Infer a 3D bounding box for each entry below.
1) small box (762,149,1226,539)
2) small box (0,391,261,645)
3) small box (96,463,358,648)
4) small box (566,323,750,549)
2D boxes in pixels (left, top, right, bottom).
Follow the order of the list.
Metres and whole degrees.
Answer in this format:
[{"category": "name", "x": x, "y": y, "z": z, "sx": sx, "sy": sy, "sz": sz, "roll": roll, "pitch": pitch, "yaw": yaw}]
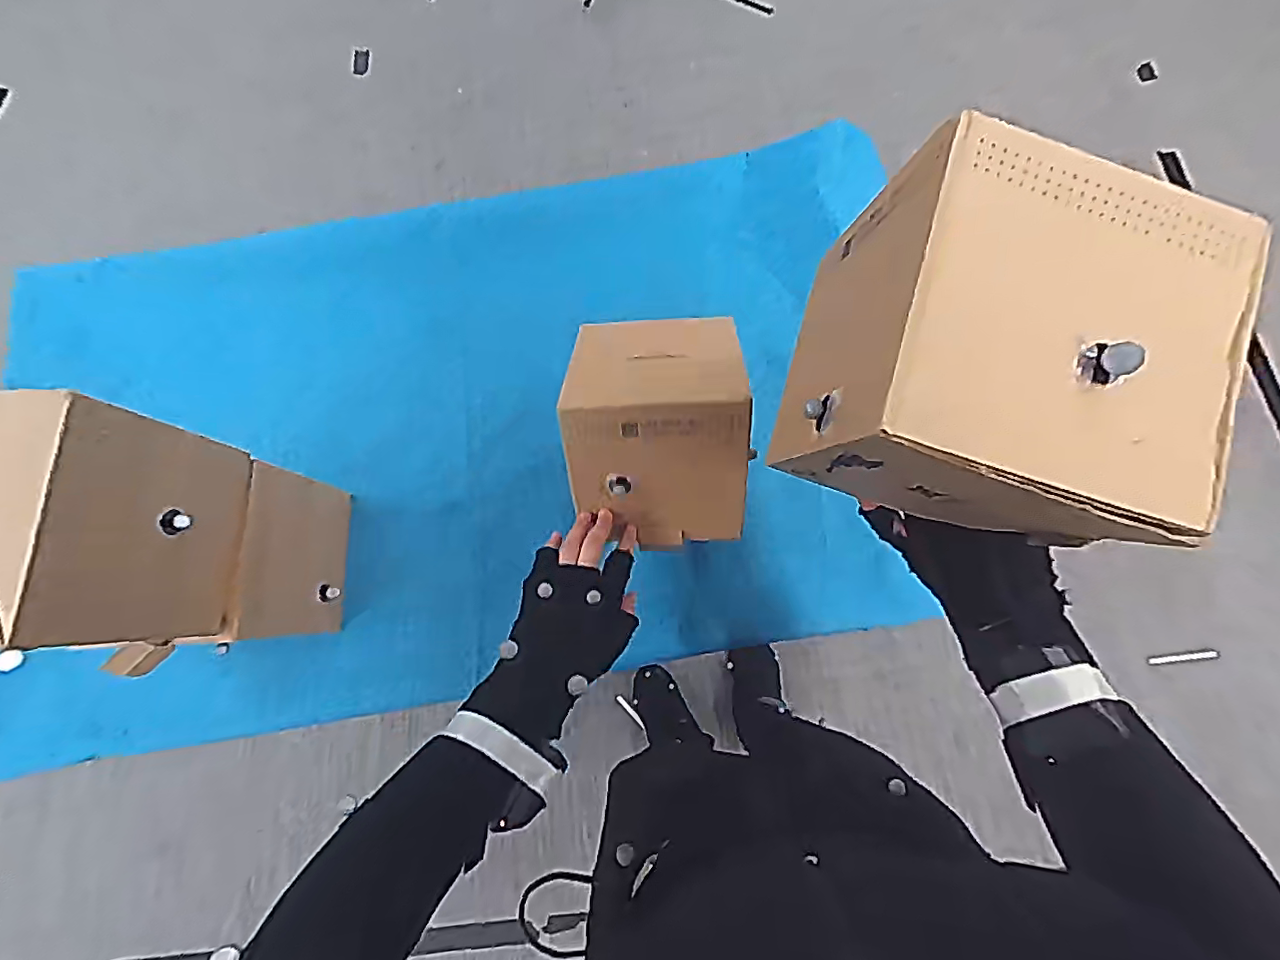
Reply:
[{"category": "small box", "x": 0.204, "y": -0.068, "z": 0.345, "sx": 0.179, "sy": 0.168, "sz": 0.176, "roll": 16, "pitch": 84, "yaw": -5}, {"category": "small box", "x": -0.462, "y": 0.041, "z": 0.444, "sx": 0.168, "sy": 0.176, "sz": 0.179, "roll": 0, "pitch": 78, "yaw": 3}, {"category": "small box", "x": -0.443, "y": 0.089, "z": 0.601, "sx": 0.168, "sy": 0.176, "sz": 0.179, "roll": -4, "pitch": 77, "yaw": 2}, {"category": "small box", "x": 0.021, "y": -0.048, "z": 0.572, "sx": 0.168, "sy": 0.176, "sz": 0.179, "roll": -1, "pitch": 41, "yaw": 3}]
